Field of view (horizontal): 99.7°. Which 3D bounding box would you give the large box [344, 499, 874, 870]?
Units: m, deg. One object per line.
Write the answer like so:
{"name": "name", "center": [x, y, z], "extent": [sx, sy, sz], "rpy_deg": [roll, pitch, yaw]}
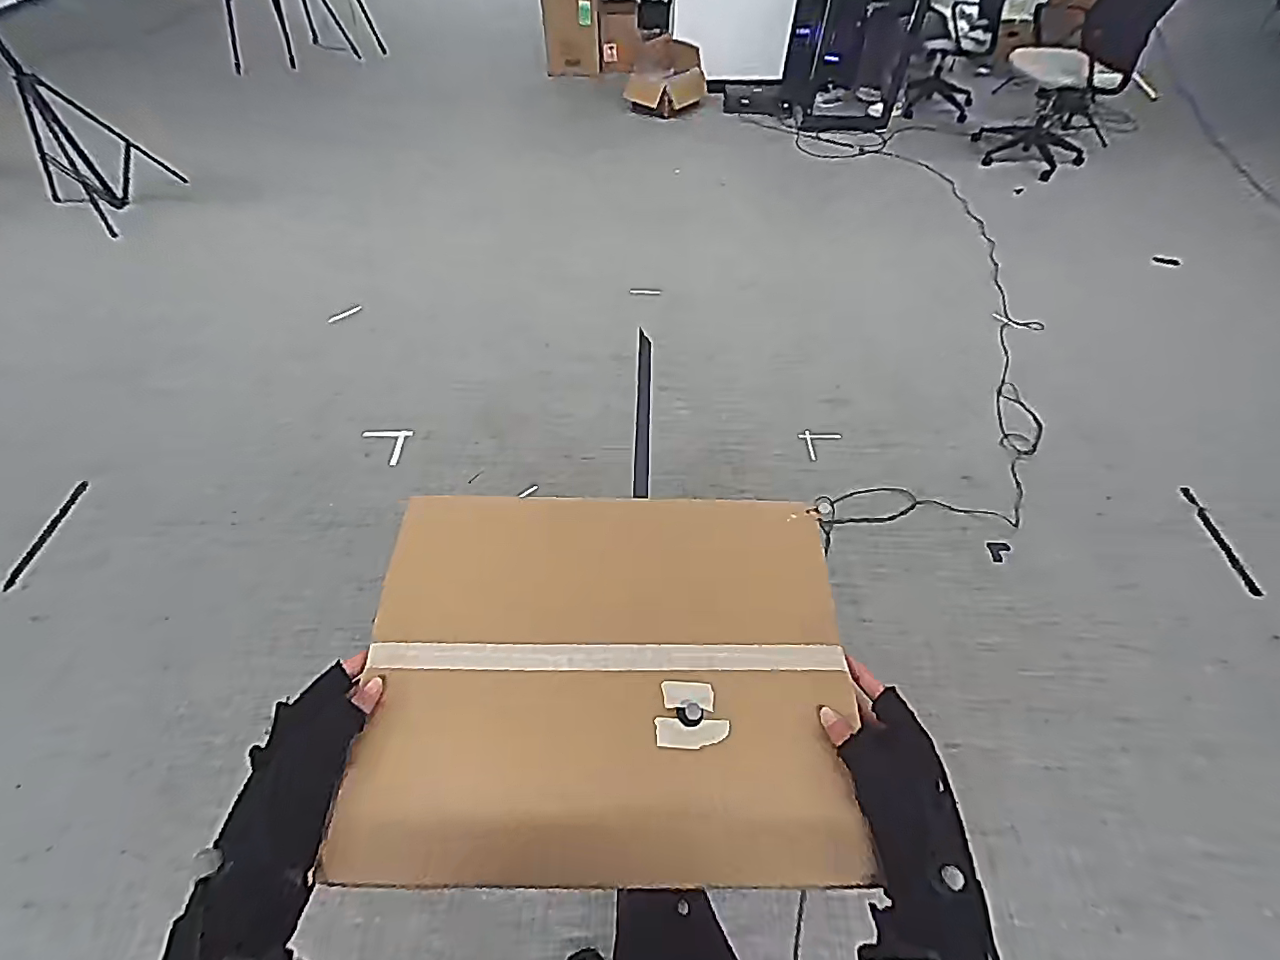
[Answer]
{"name": "large box", "center": [-0.028, 0.230, 0.603], "extent": [0.408, 0.320, 0.320], "rpy_deg": [1, 59, -2]}
